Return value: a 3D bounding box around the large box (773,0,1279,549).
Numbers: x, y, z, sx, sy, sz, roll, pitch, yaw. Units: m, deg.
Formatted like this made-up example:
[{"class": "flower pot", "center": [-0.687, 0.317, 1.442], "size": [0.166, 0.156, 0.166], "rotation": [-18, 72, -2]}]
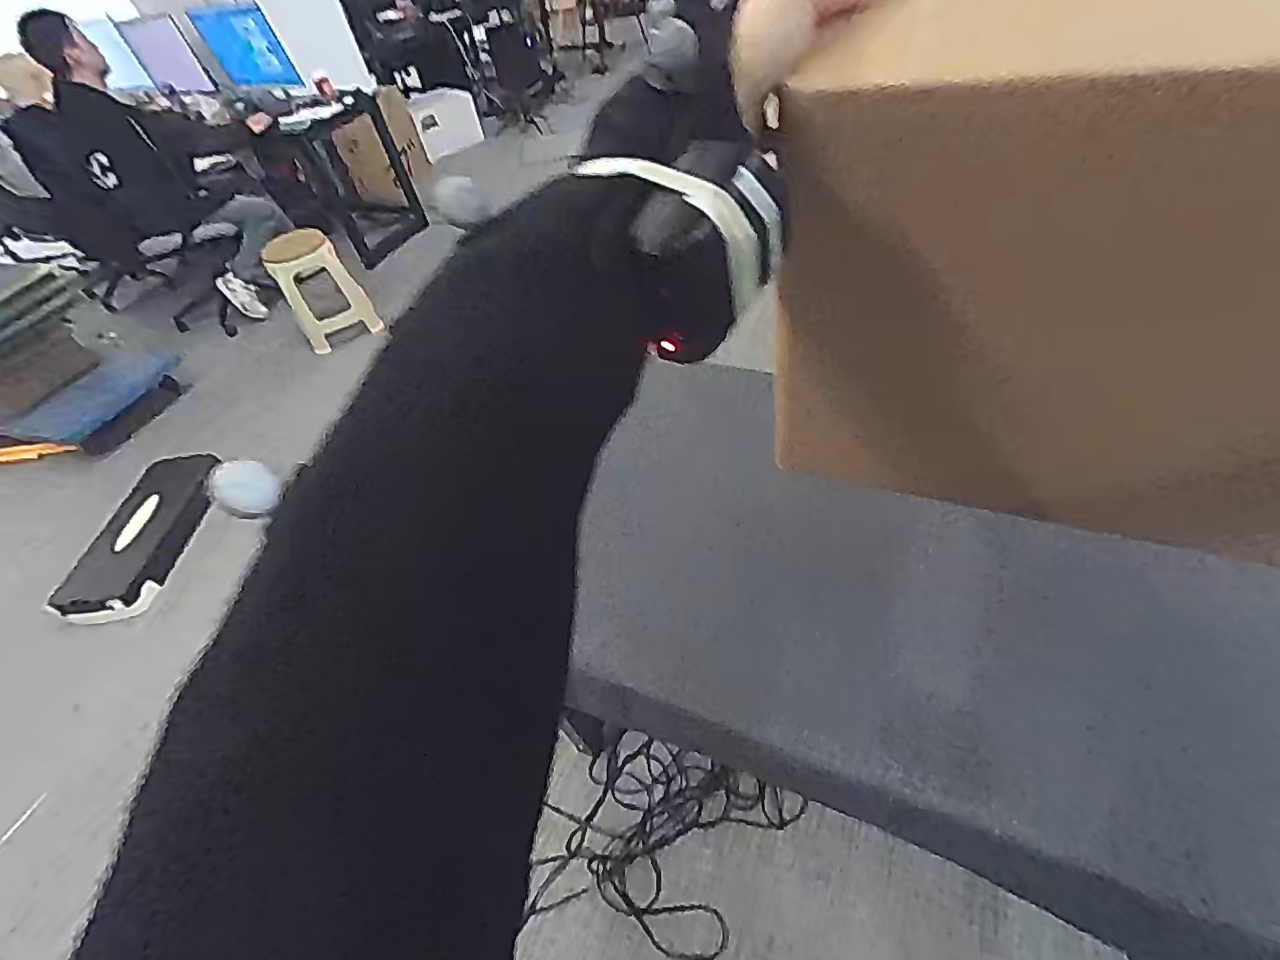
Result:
[{"class": "large box", "center": [0.318, -0.180, 0.353], "size": [0.408, 0.320, 0.320], "rotation": [12, 65, 19]}]
